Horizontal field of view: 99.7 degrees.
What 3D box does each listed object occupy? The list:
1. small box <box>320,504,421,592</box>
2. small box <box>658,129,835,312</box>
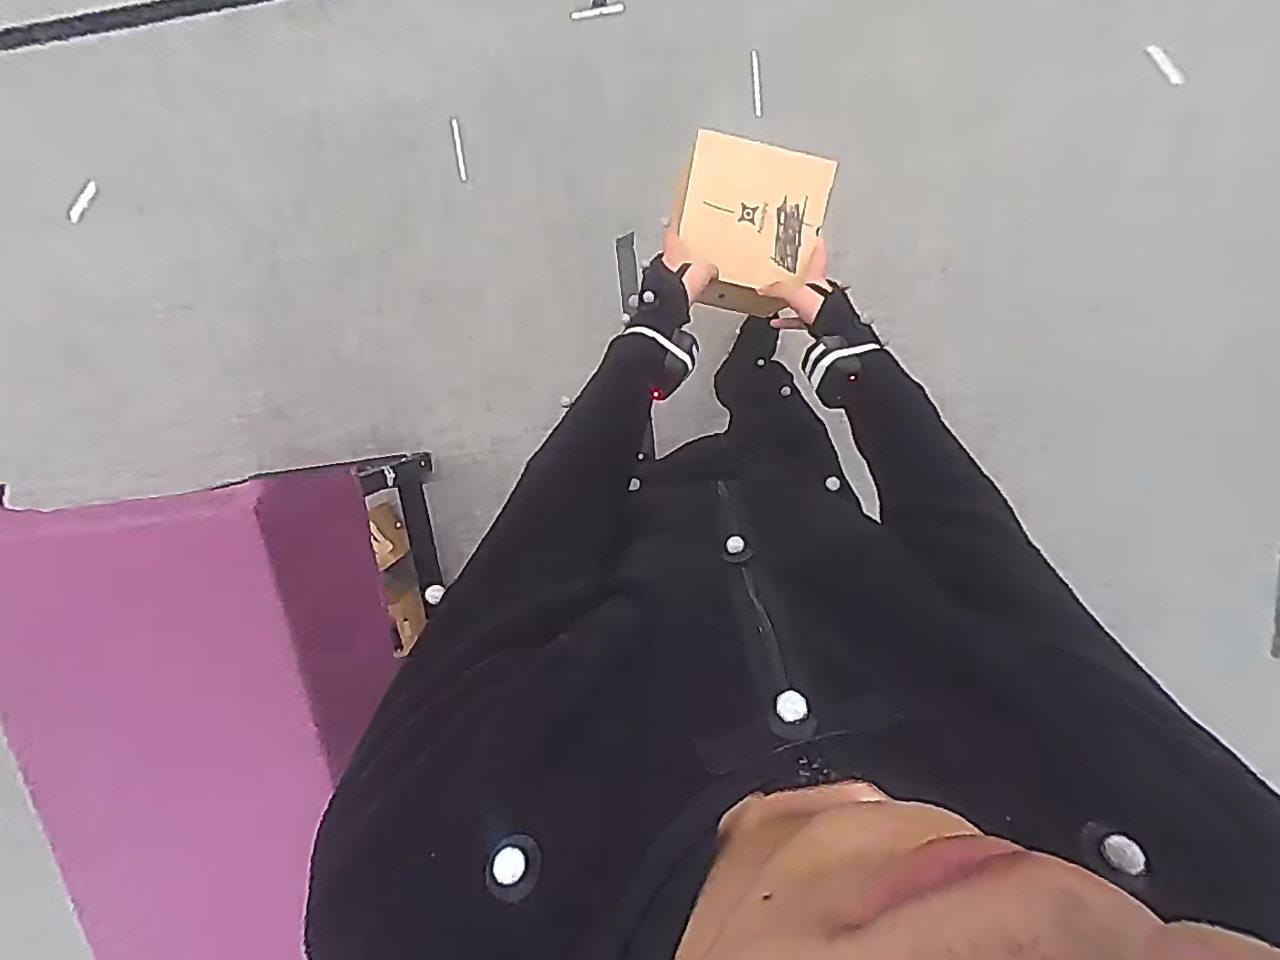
[{"bbox_3d":[-0.794,0.198,1.613,0.179,0.176,0.168,-35,98,9],"label":"small box"},{"bbox_3d":[0.131,-0.334,0.736,0.179,0.176,0.168,10,98,-6],"label":"small box"}]
